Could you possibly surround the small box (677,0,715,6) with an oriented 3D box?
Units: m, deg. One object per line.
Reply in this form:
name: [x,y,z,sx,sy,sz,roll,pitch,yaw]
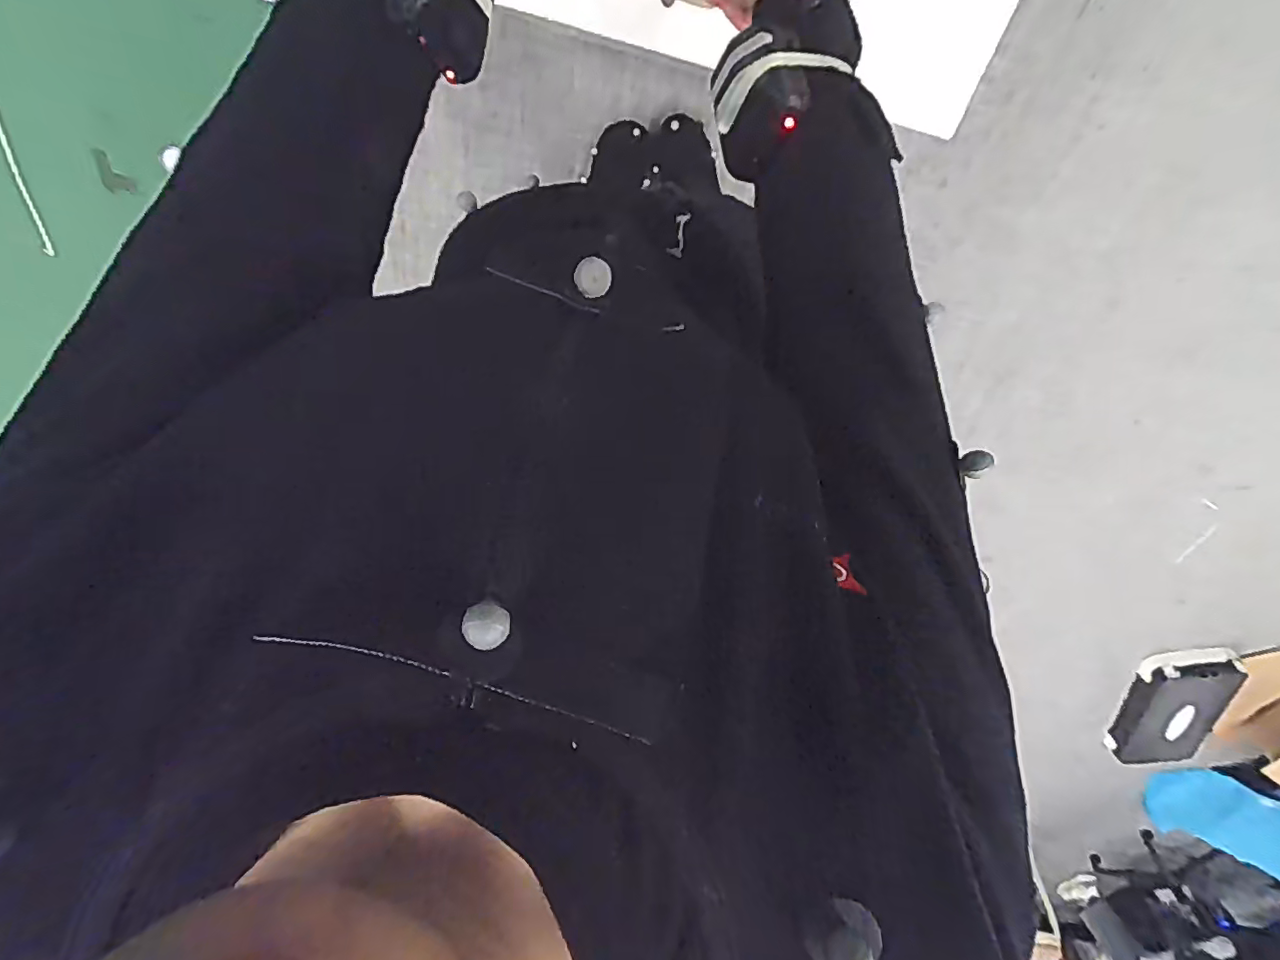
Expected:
small box: [0.009,-0.470,0.379,0.168,0.176,0.179,10,125,-8]
